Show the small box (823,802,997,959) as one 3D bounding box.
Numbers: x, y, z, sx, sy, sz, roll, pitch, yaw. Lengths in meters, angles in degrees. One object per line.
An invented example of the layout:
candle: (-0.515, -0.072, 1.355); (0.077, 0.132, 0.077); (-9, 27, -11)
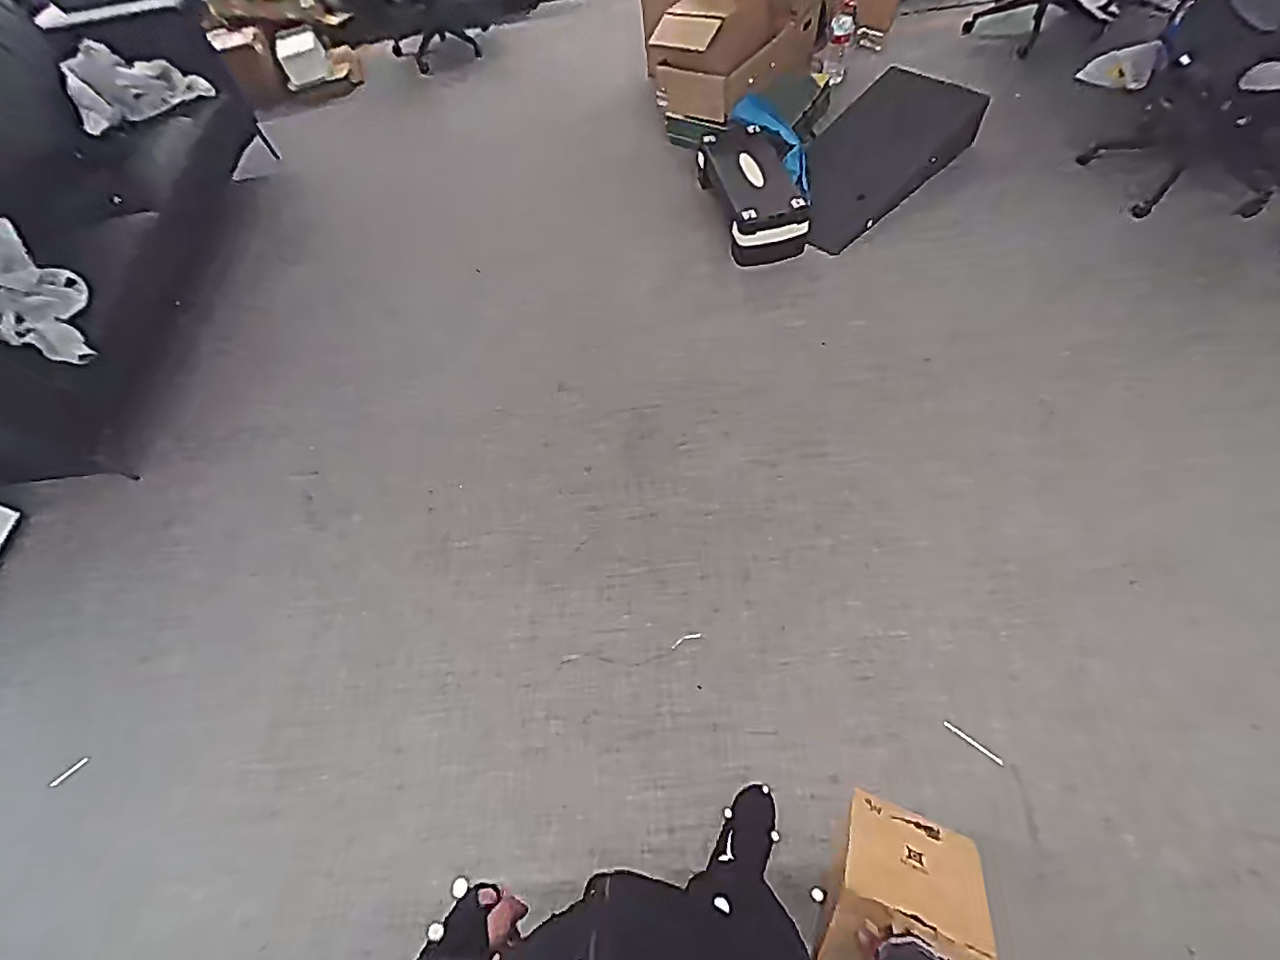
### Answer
small box: (0.345, 0.587, 0.716); (0.168, 0.179, 0.176); (13, 104, 21)
